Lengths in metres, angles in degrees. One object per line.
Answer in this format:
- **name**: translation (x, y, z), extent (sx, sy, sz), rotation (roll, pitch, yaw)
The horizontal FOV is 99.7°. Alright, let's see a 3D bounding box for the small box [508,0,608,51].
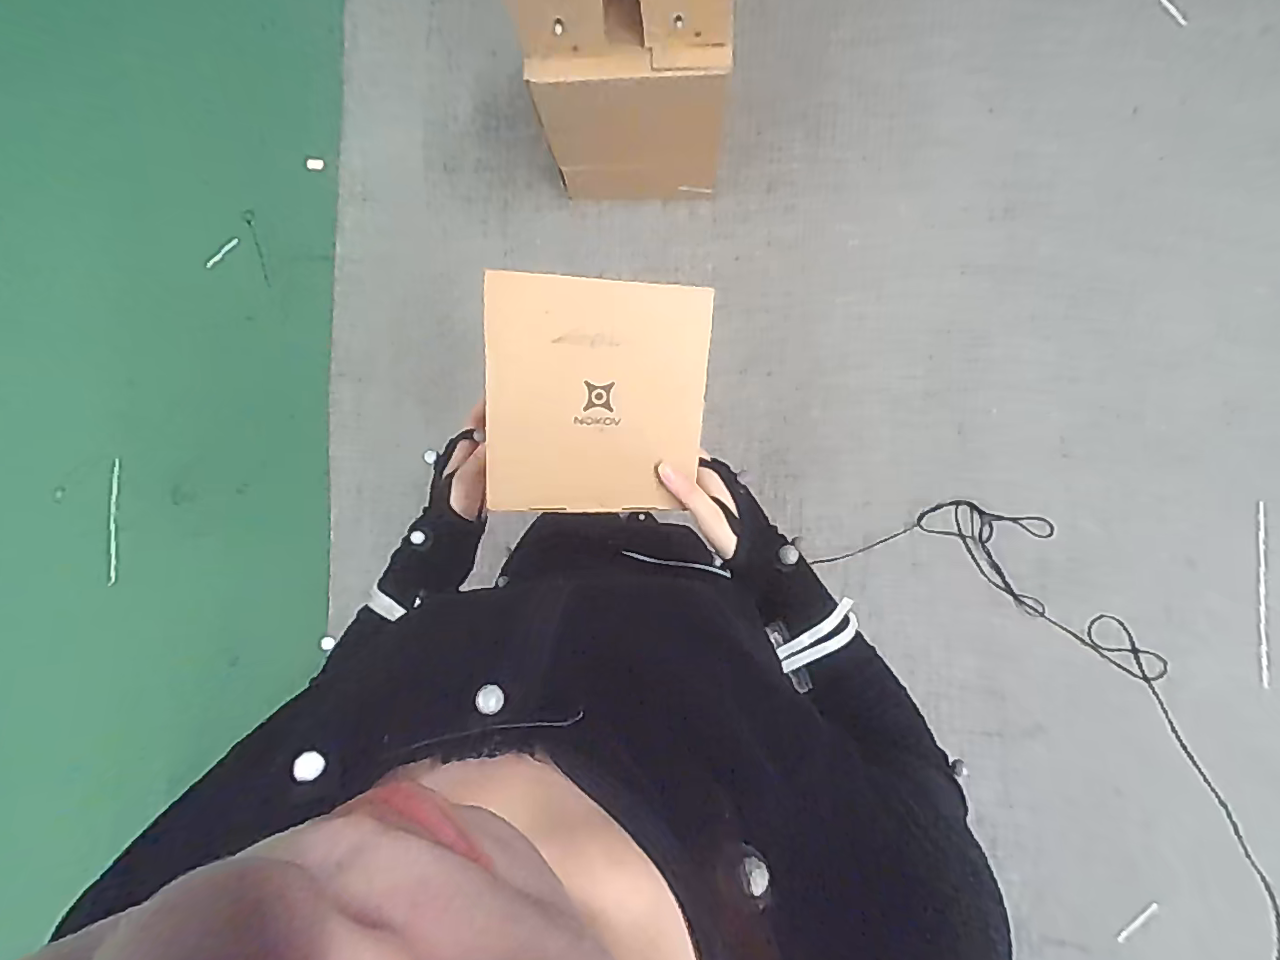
- **small box**: translation (-0.146, -0.917, 0.973), extent (0.168, 0.176, 0.179), rotation (1, 91, 2)

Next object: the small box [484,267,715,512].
- **small box**: translation (-0.045, -0.082, 0.482), extent (0.168, 0.176, 0.179), rotation (2, 106, -12)

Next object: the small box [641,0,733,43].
- **small box**: translation (0.085, -0.930, 0.960), extent (0.168, 0.176, 0.179), rotation (0, 90, 5)
